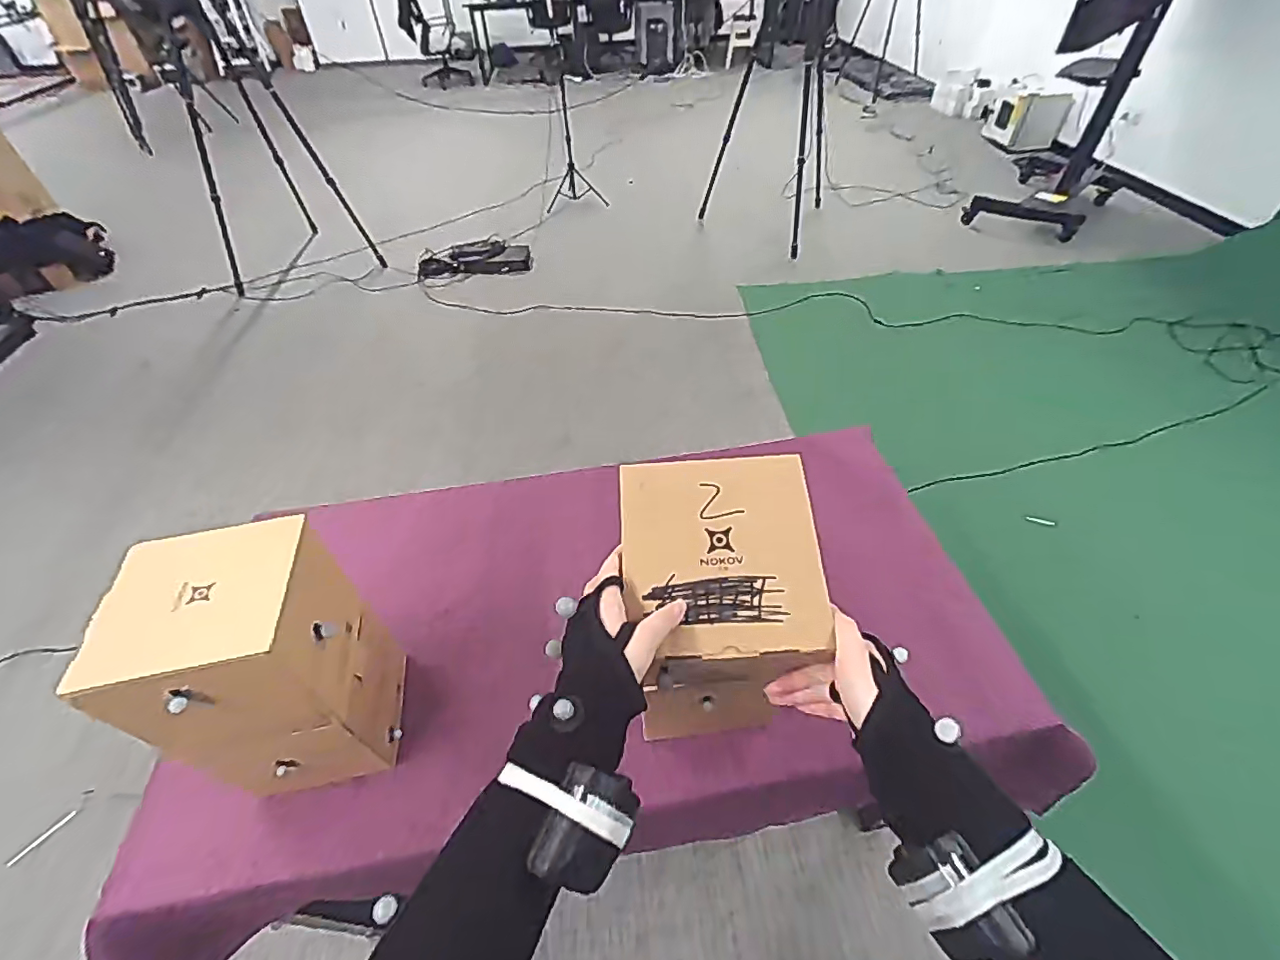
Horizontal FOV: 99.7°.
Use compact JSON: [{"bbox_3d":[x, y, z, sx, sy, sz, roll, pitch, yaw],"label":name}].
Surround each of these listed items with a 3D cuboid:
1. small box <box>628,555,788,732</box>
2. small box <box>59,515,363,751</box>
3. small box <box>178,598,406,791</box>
[{"bbox_3d":[0.081,0.222,0.724,0.179,0.176,0.168,-5,48,-2],"label":"small box"},{"bbox_3d":[-0.423,0.165,0.579,0.179,0.176,0.168,-11,47,-7],"label":"small box"},{"bbox_3d":[-0.422,0.277,0.697,0.179,0.176,0.168,-11,47,-6],"label":"small box"}]
